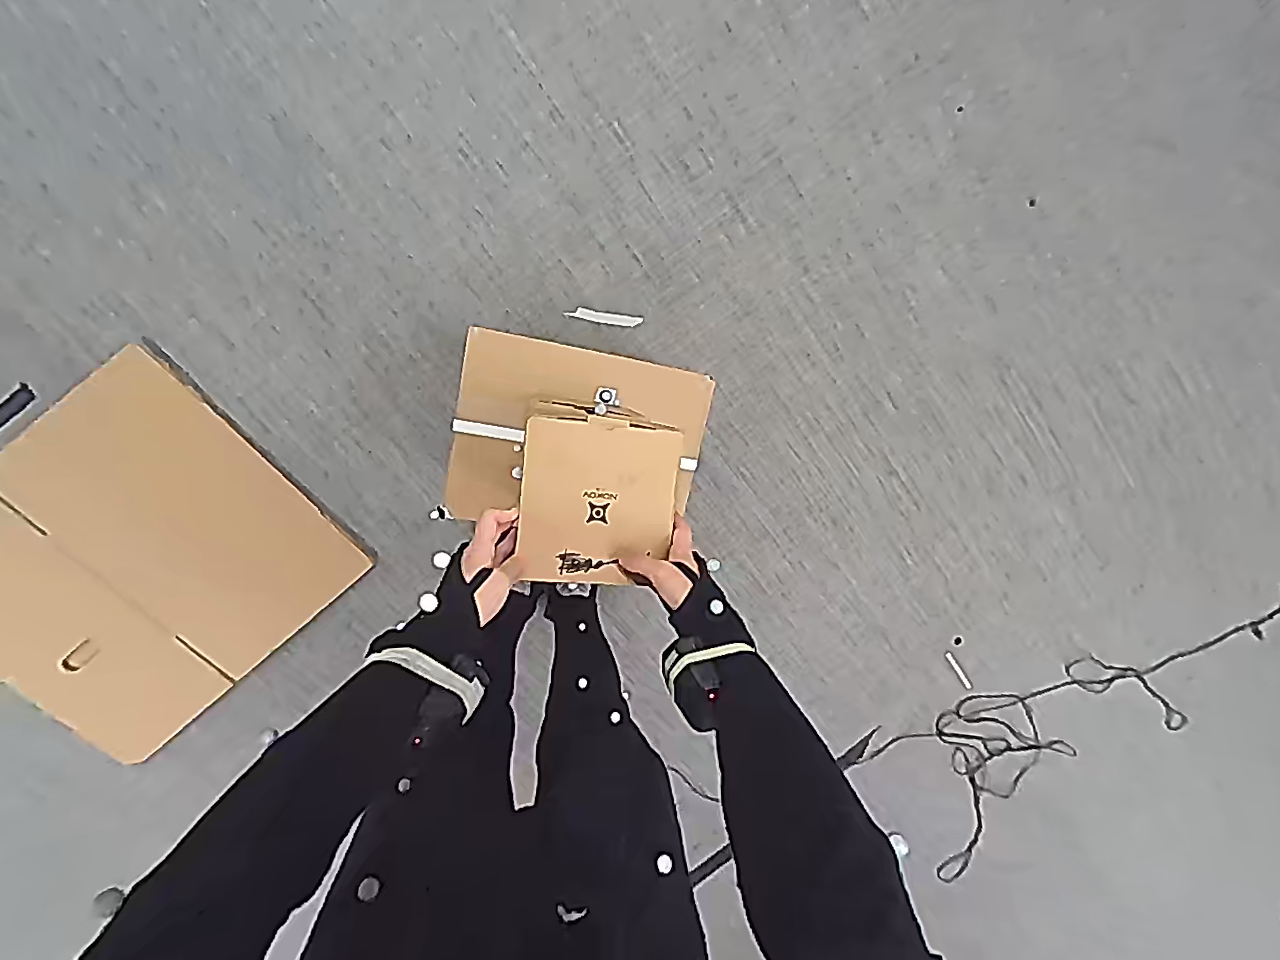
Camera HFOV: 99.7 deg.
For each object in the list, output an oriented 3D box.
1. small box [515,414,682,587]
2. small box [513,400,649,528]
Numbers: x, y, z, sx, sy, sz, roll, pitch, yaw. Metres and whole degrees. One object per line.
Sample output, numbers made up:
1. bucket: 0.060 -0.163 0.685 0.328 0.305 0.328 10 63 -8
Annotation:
1. small box: -0.058 0.016 0.646 0.168 0.176 0.179 5 97 -12
2. small box: -0.094 -0.021 0.813 0.168 0.176 0.179 9 100 -11
